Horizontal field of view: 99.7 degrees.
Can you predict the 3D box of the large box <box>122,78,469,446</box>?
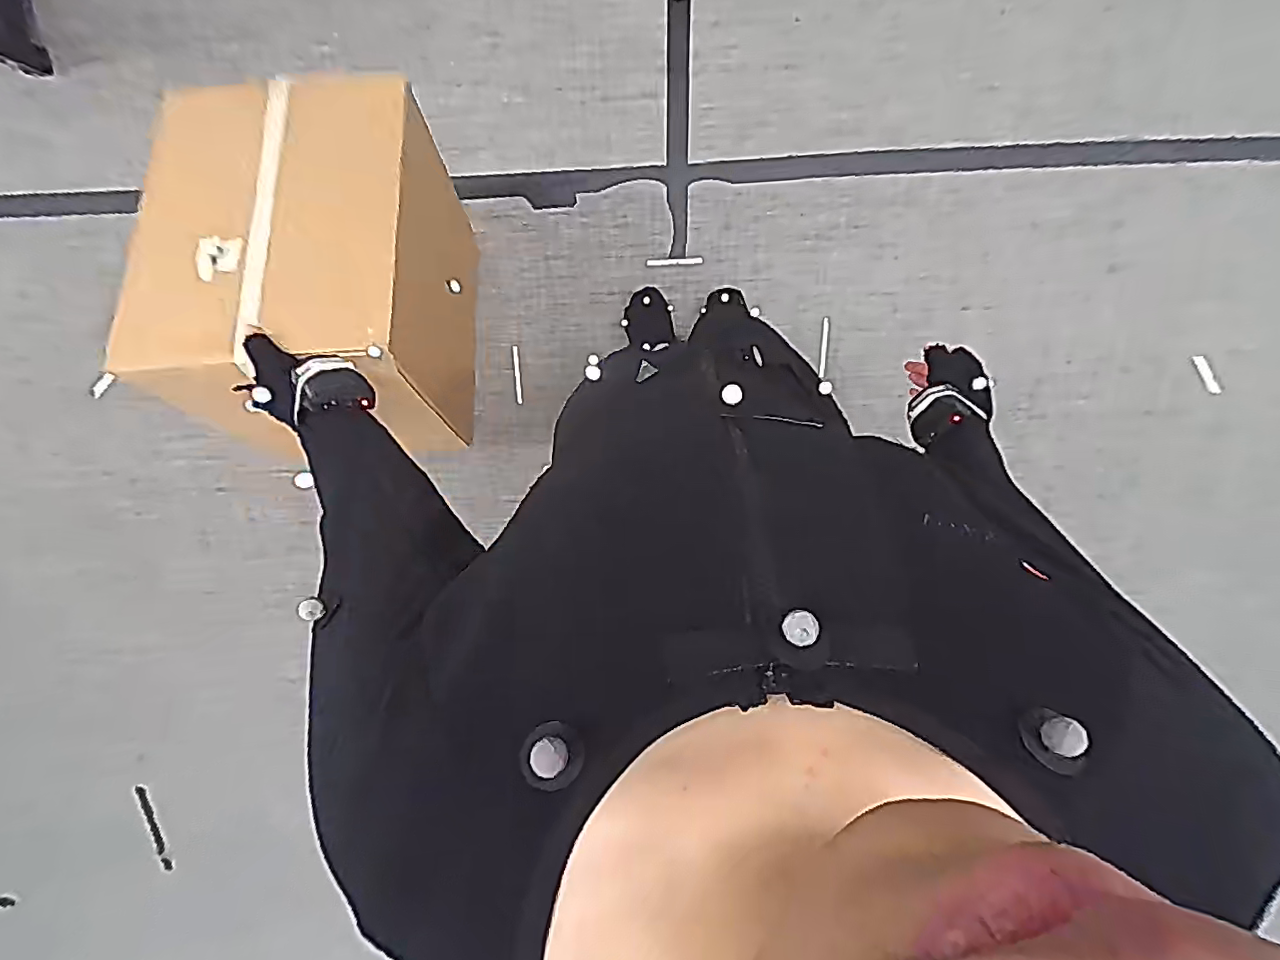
[{"bbox_3d":[-0.452,-0.291,0.803,0.320,0.320,0.408,-4,77,0],"label":"large box"}]
